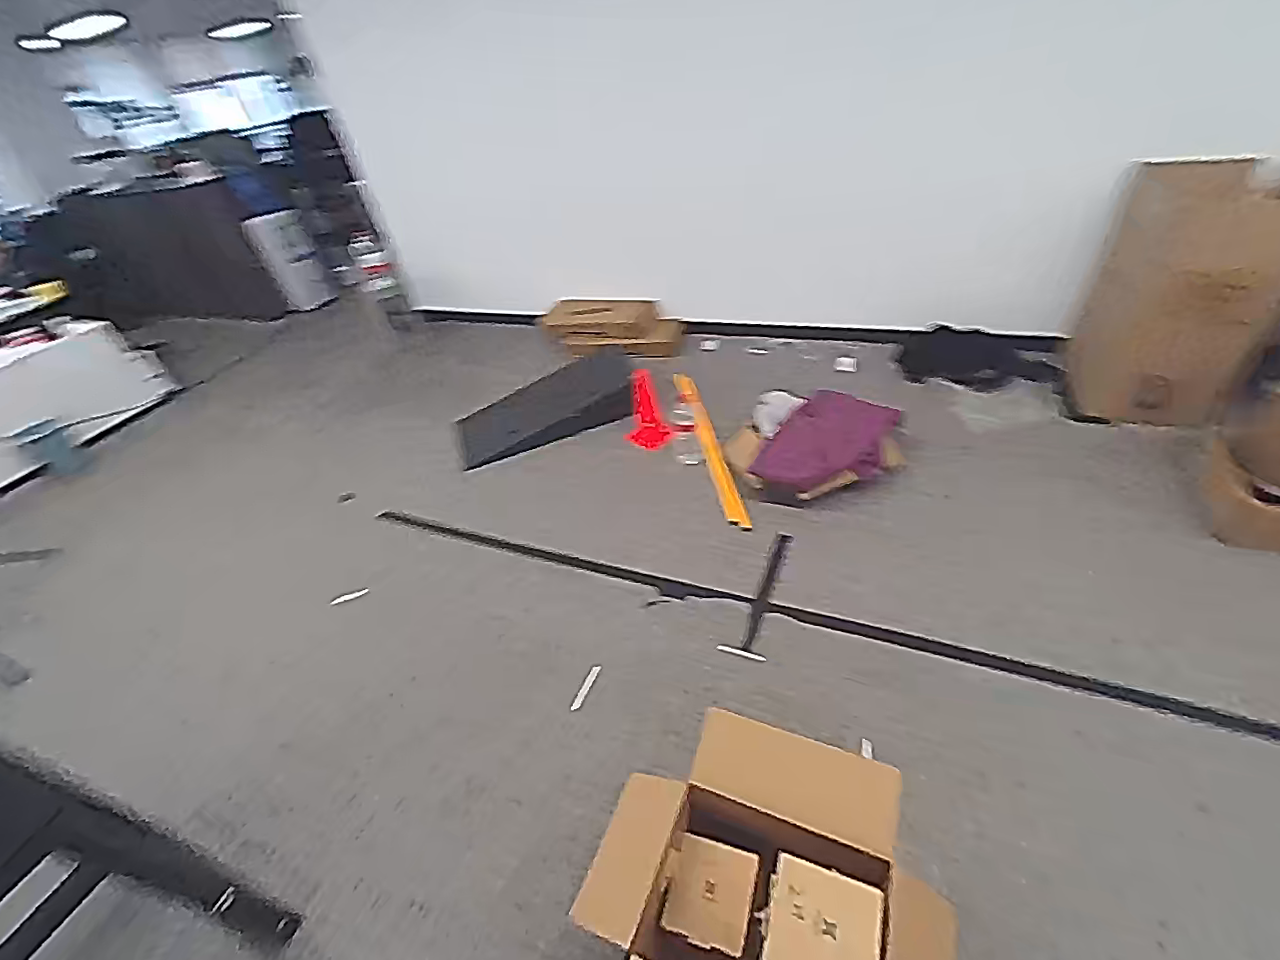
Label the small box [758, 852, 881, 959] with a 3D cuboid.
[{"bbox_3d":[0.314,0.805,0.957,0.179,0.176,0.168,10,44,21],"label":"small box"}]
